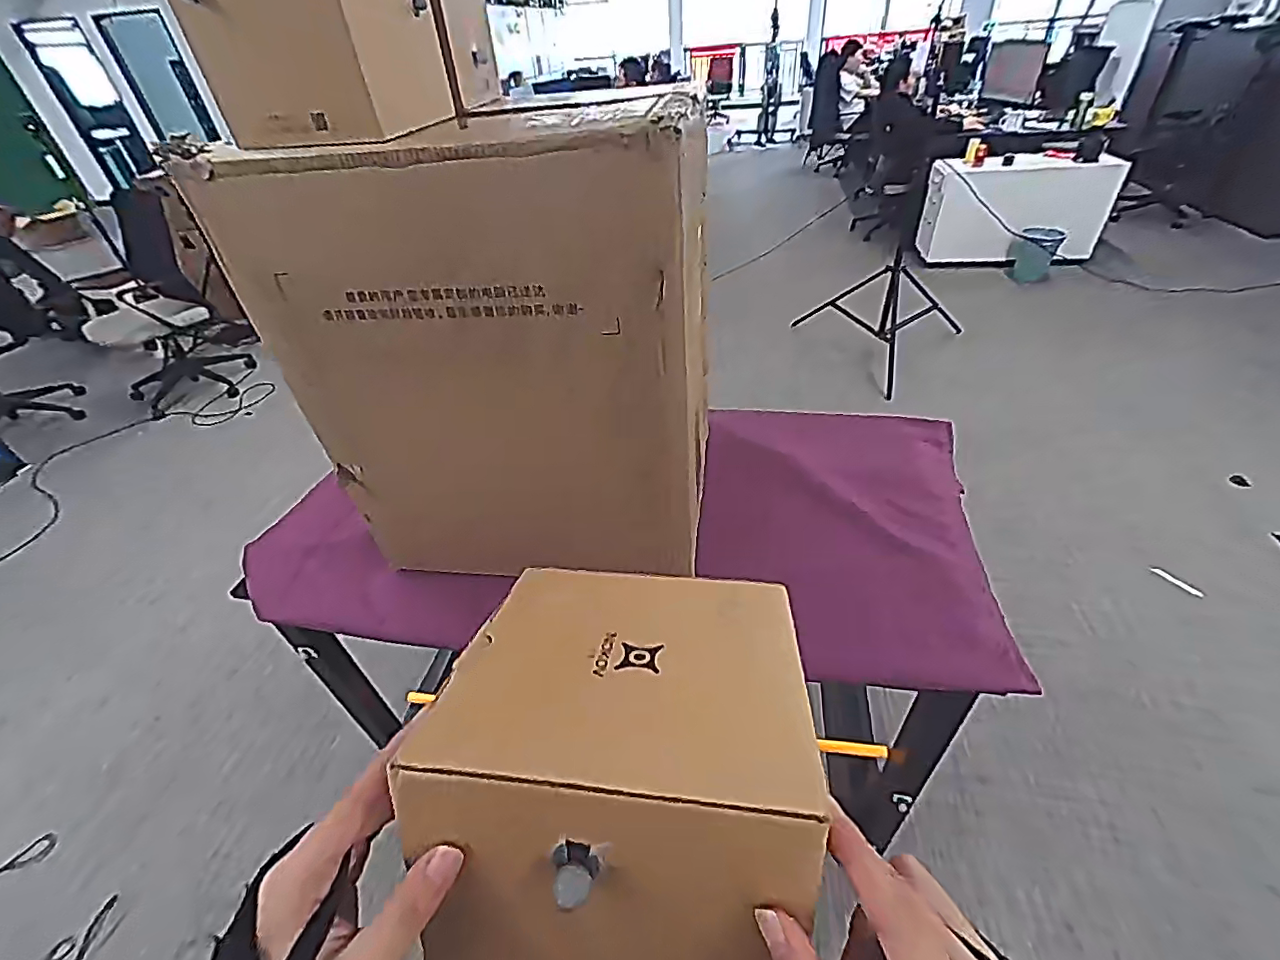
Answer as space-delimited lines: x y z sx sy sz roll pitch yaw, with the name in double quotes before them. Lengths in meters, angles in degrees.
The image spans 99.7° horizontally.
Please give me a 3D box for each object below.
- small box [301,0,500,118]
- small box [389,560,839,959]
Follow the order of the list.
"small box" -0.297 -0.565 0.679 0.179 0.176 0.168 1 40 6
"small box" -0.002 0.162 0.303 0.179 0.176 0.168 2 20 8
